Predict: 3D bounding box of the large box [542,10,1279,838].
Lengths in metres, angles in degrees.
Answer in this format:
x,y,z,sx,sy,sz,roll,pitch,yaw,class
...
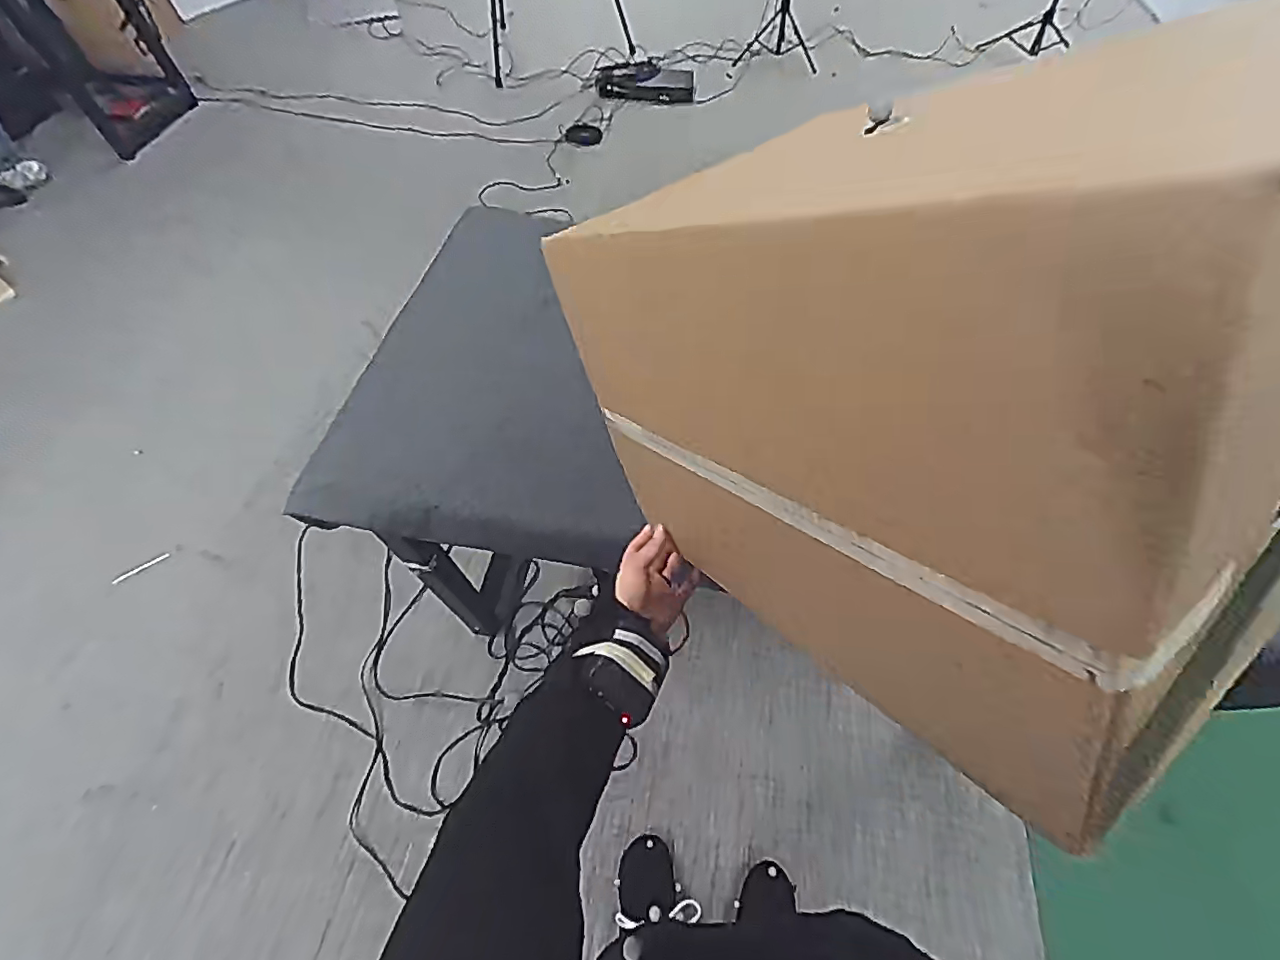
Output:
x,y,z,sx,sy,sz,roll,pitch,yaw,class
0.186,-0.070,0.394,0.320,0.320,0.408,-32,32,-19,large box
